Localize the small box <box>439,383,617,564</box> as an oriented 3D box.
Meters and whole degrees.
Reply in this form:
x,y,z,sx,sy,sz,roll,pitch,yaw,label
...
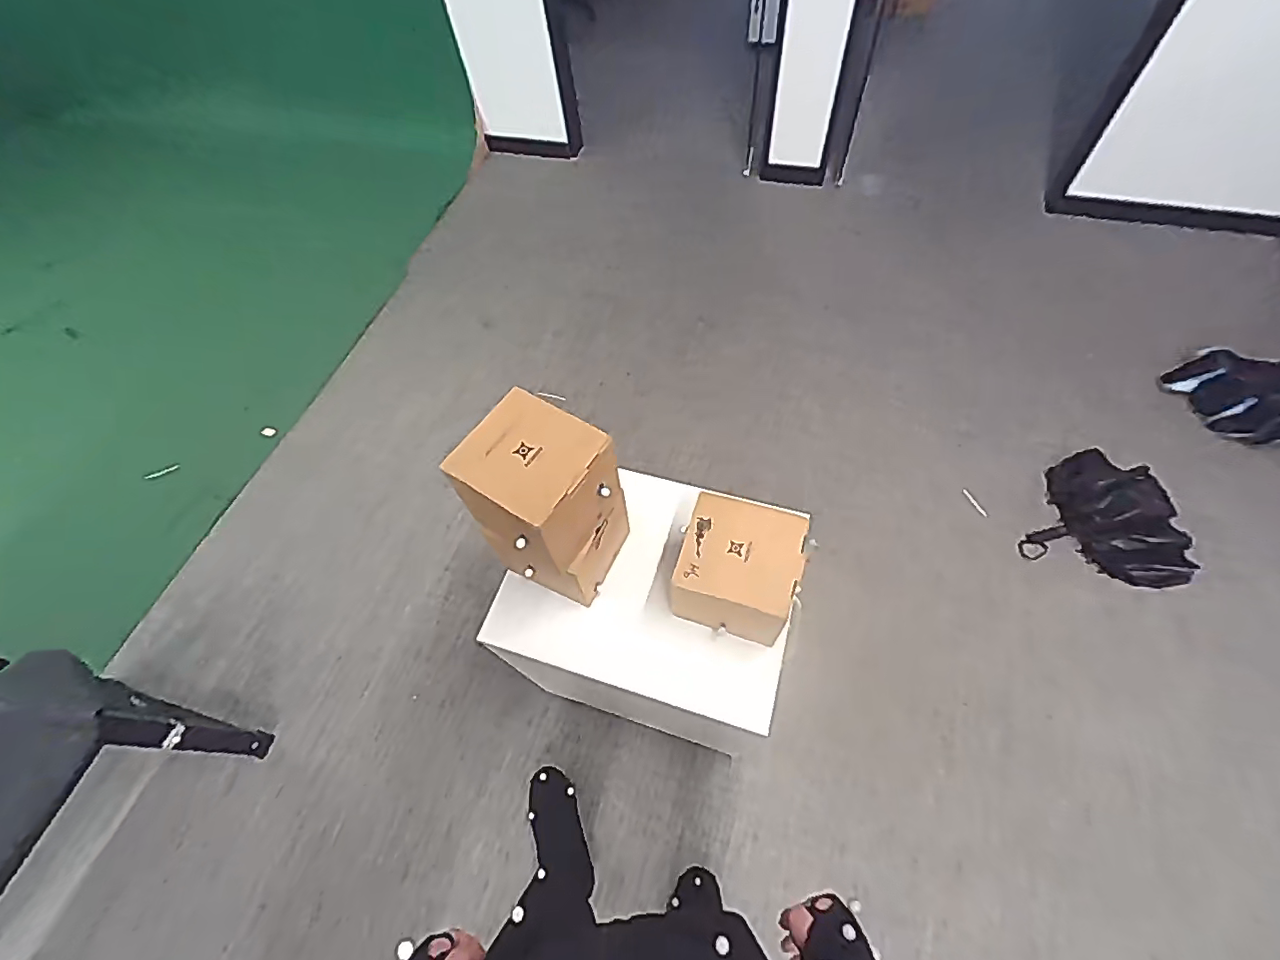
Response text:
x,y,z,sx,sy,sz,roll,pitch,yaw,label
-0.147,-0.001,0.782,0.179,0.176,0.168,28,63,18,small box

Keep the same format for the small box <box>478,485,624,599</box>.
x,y,z,sx,sy,sz,roll,pitch,yaw,label
-0.137,0.083,0.920,0.179,0.176,0.168,22,62,15,small box

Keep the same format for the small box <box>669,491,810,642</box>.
x,y,z,sx,sy,sz,roll,pitch,yaw,label
0.153,0.147,0.870,0.179,0.176,0.168,16,62,12,small box
